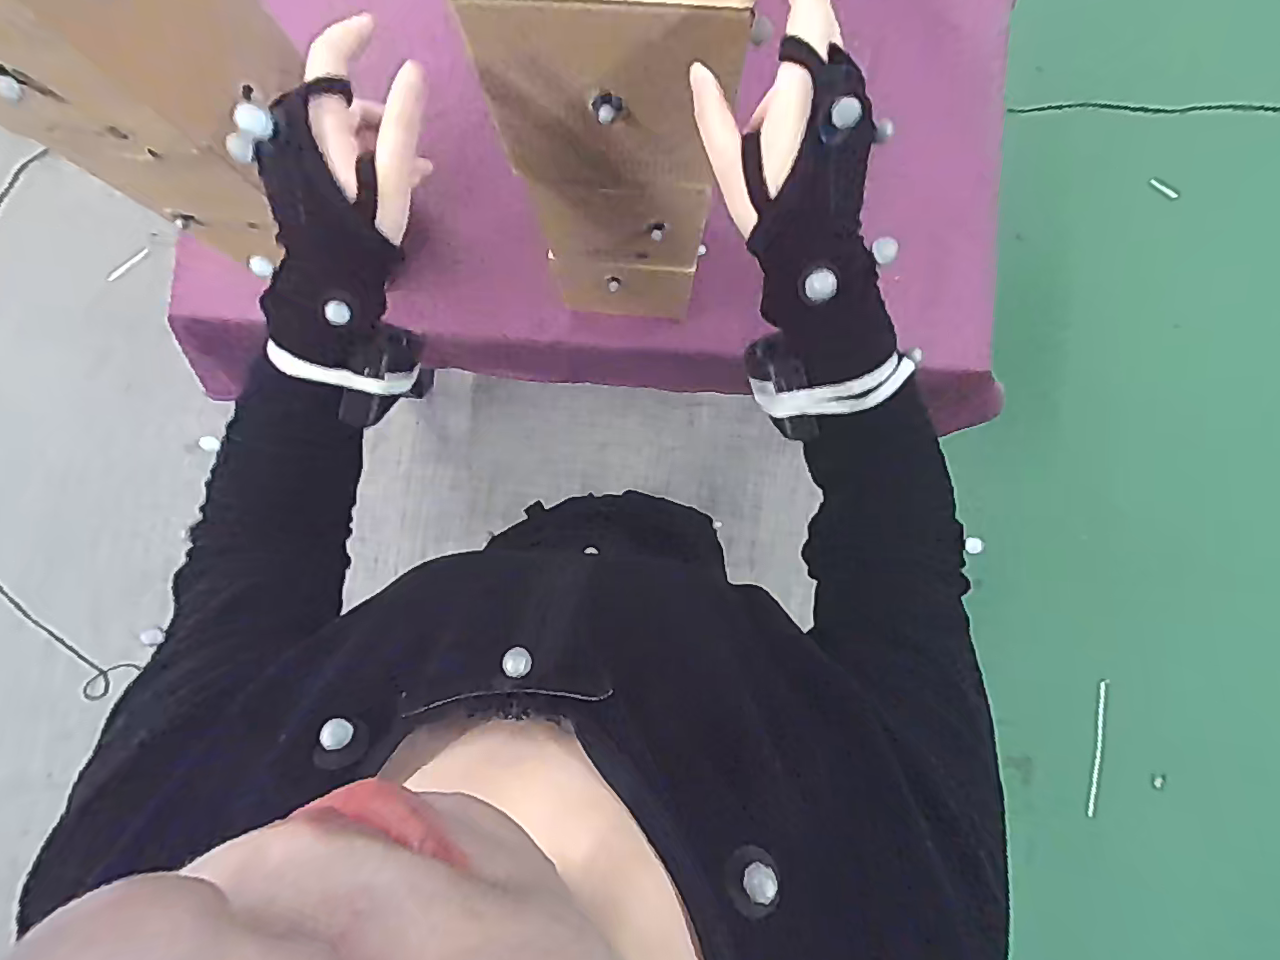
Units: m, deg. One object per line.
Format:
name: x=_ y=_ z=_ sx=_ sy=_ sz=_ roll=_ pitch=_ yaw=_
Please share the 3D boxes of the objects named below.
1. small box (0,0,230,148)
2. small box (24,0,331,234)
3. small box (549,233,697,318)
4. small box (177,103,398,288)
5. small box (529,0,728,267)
small box: x=-0.439 y=-0.377 z=0.389 sx=0.168 sy=0.176 sz=0.179 roll=5 pitch=88 yaw=-2
small box: x=-0.447 y=-0.378 z=0.554 sx=0.168 sy=0.176 sz=0.179 roll=5 pitch=86 yaw=-1
small box: x=-0.012 y=-0.326 z=0.718 sx=0.179 sy=0.176 sz=0.168 roll=6 pitch=88 yaw=0
small box: x=-0.451 y=-0.369 z=0.717 sx=0.179 sy=0.176 sz=0.168 roll=5 pitch=88 yaw=-1
small box: x=-0.010 y=-0.339 z=0.555 sx=0.168 sy=0.176 sz=0.179 roll=4 pitch=87 yaw=-1
